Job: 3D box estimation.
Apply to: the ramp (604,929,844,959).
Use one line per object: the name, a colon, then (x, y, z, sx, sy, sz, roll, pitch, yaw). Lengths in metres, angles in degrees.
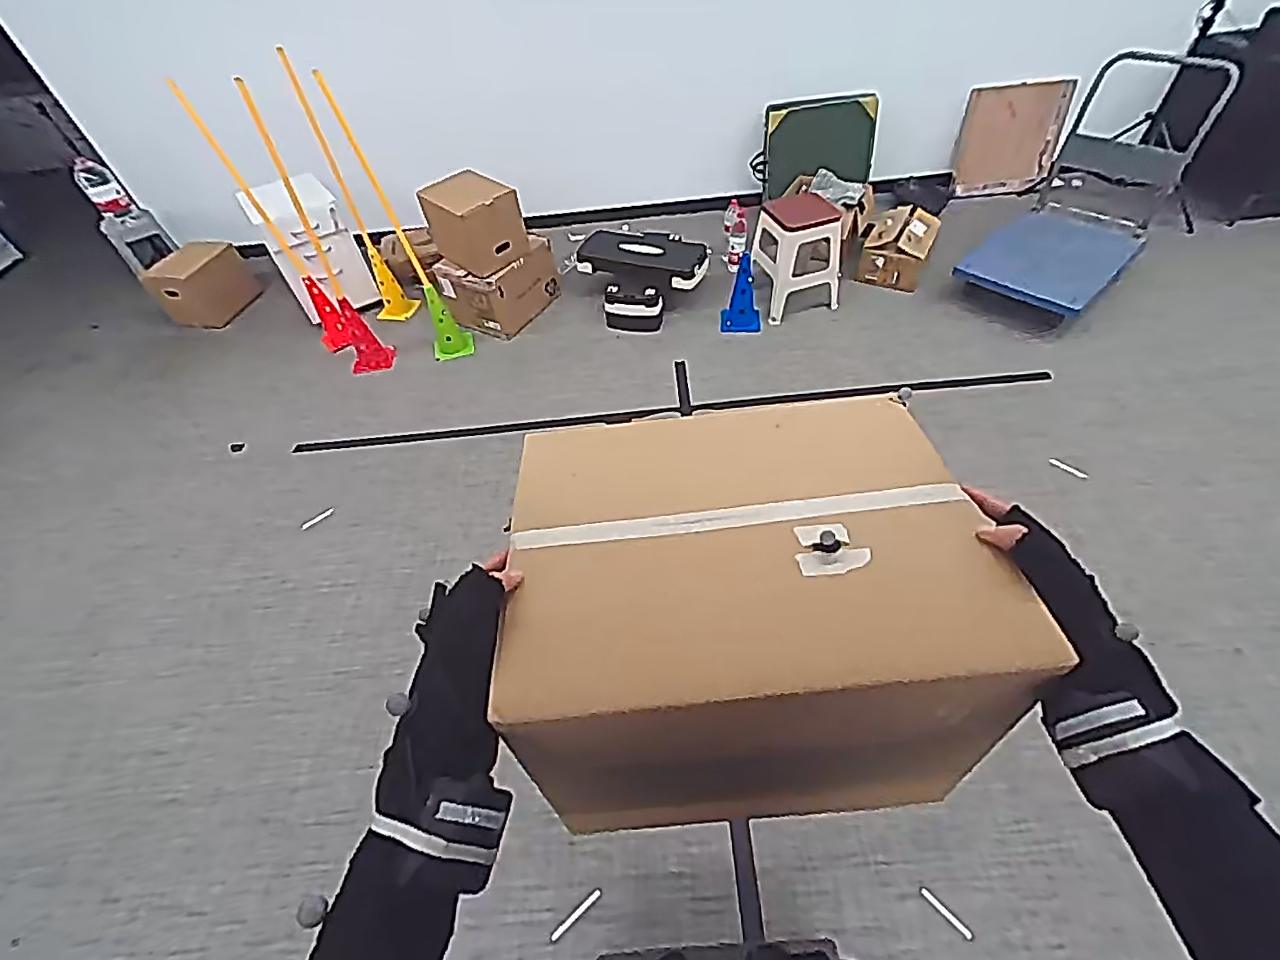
ramp: (0.206, 1.374, 0.868, 0.509, 0.206, 0.991, -6, 50, 0)

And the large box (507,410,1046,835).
large box: (0.100, 0.156, 0.597, 0.408, 0.320, 0.320, -7, 44, 1)
